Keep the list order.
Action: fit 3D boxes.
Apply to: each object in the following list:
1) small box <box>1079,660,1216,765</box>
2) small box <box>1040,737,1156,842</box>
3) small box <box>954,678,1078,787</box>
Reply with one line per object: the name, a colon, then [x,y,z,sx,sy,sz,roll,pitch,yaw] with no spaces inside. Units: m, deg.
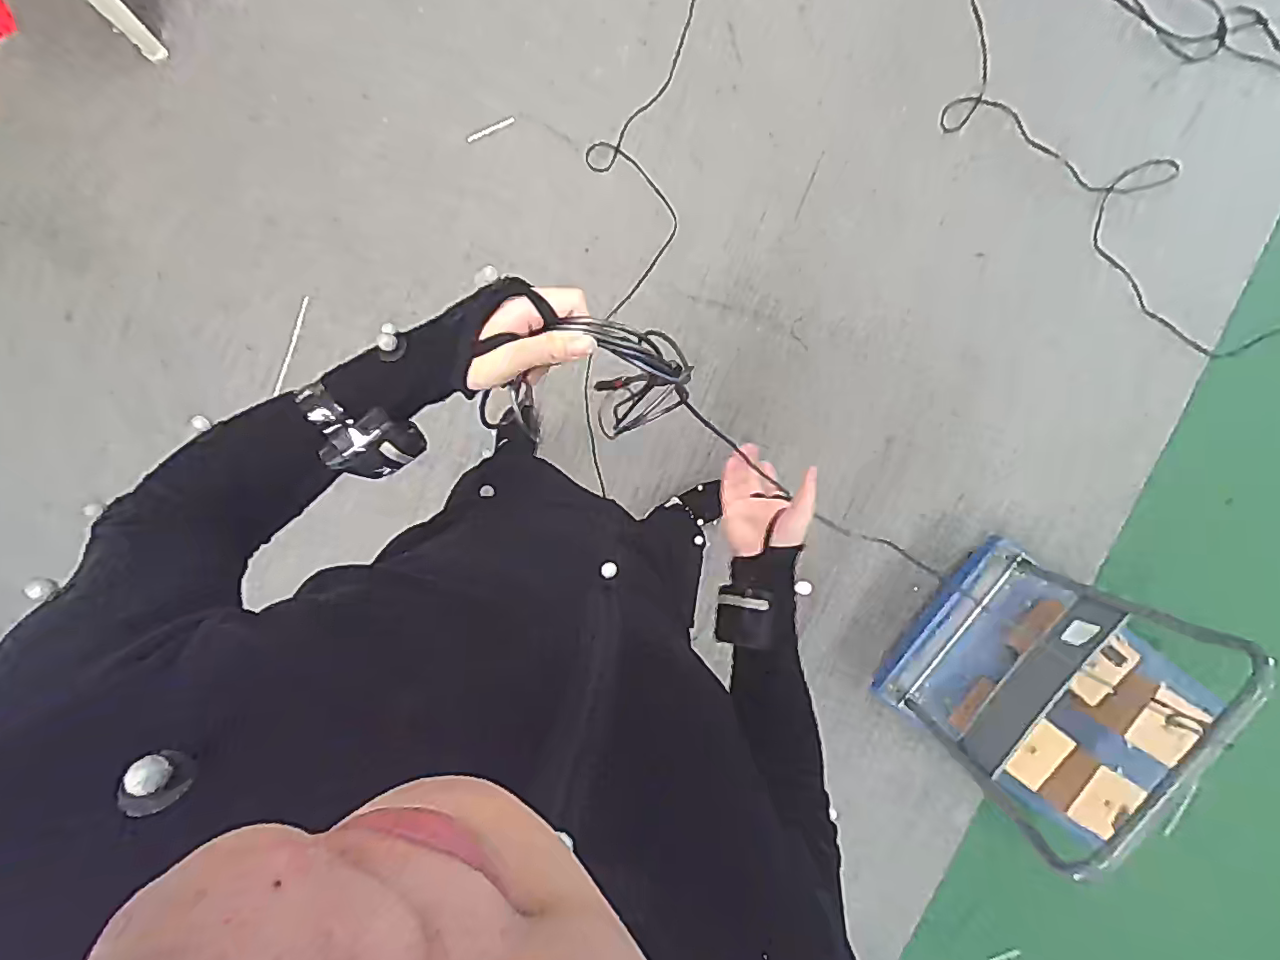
small box: [1.359,0.617,1.463,0.179,0.176,0.168,32,96,-5]
small box: [1.227,0.829,1.484,0.179,0.176,0.168,32,94,-4]
small box: [1.007,0.672,1.463,0.179,0.176,0.168,37,95,-4]
